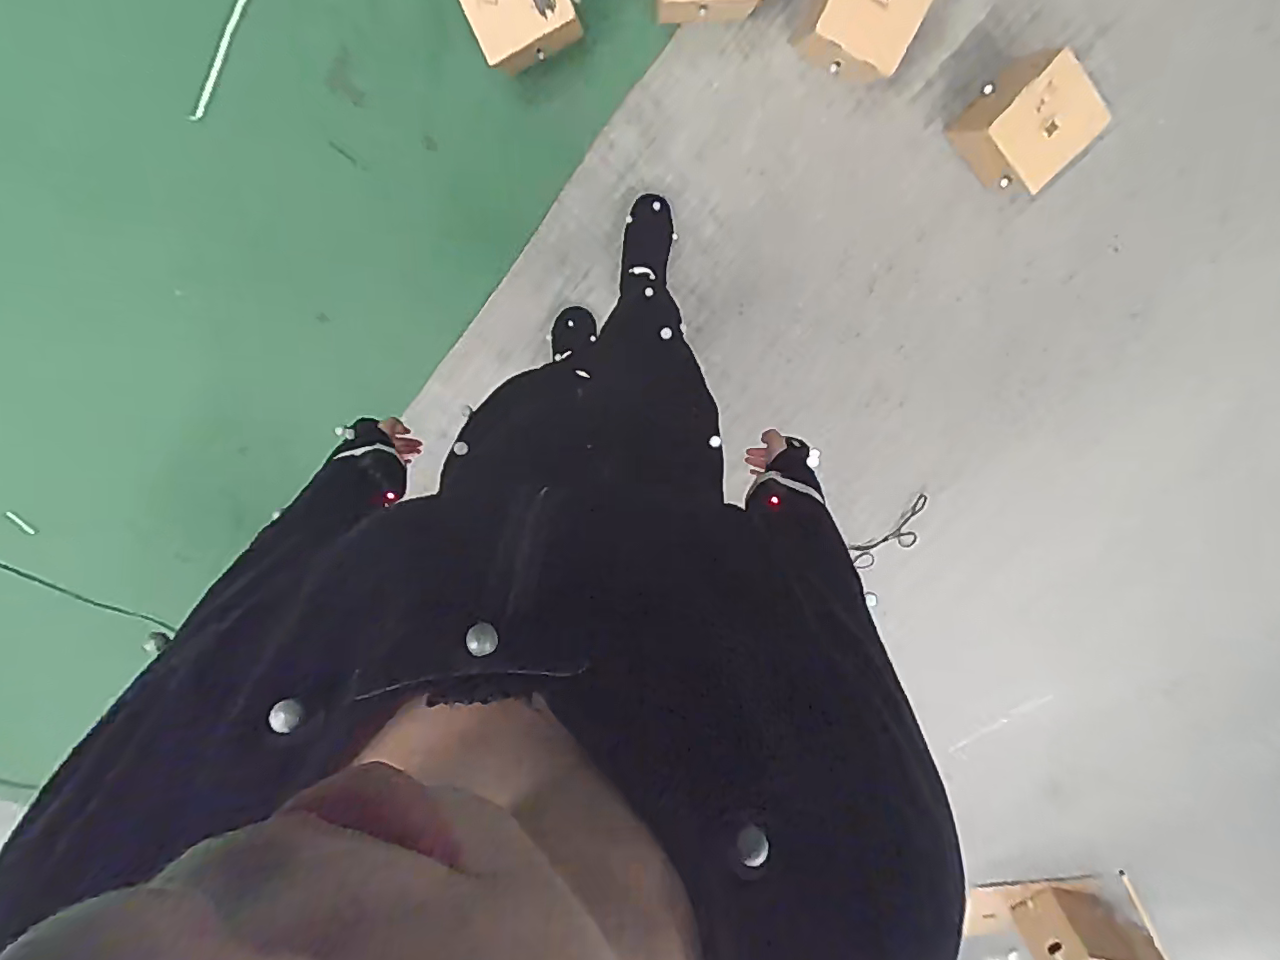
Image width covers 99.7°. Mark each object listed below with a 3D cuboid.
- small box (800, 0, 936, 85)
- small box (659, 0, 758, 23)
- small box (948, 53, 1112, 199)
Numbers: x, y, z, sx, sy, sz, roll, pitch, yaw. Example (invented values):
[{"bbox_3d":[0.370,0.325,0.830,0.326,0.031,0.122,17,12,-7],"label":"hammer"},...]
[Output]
[{"bbox_3d":[0.412,-0.855,0.982,0.168,0.176,0.179,21,119,-13],"label":"small box"},{"bbox_3d":[0.122,-0.919,0.940,0.179,0.176,0.168,-3,121,0],"label":"small box"},{"bbox_3d":[0.766,-0.699,1.079,0.179,0.176,0.168,35,114,-20],"label":"small box"}]
